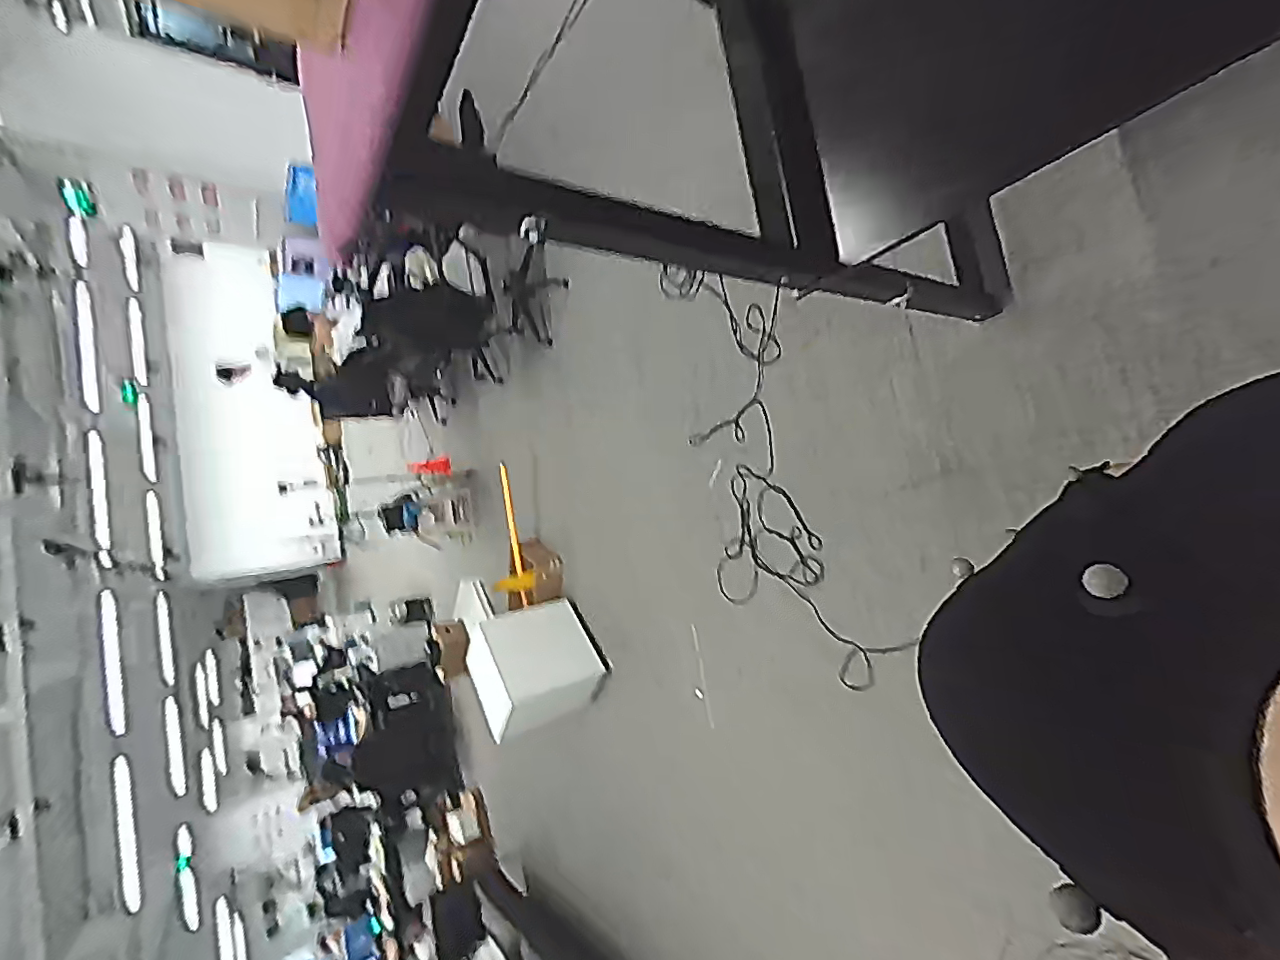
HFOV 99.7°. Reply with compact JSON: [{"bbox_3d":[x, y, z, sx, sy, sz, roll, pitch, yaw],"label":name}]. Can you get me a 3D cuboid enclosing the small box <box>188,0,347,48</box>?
[{"bbox_3d":[-0.274,-0.419,0.323,0.168,0.176,0.179,-24,77,54],"label":"small box"}]
